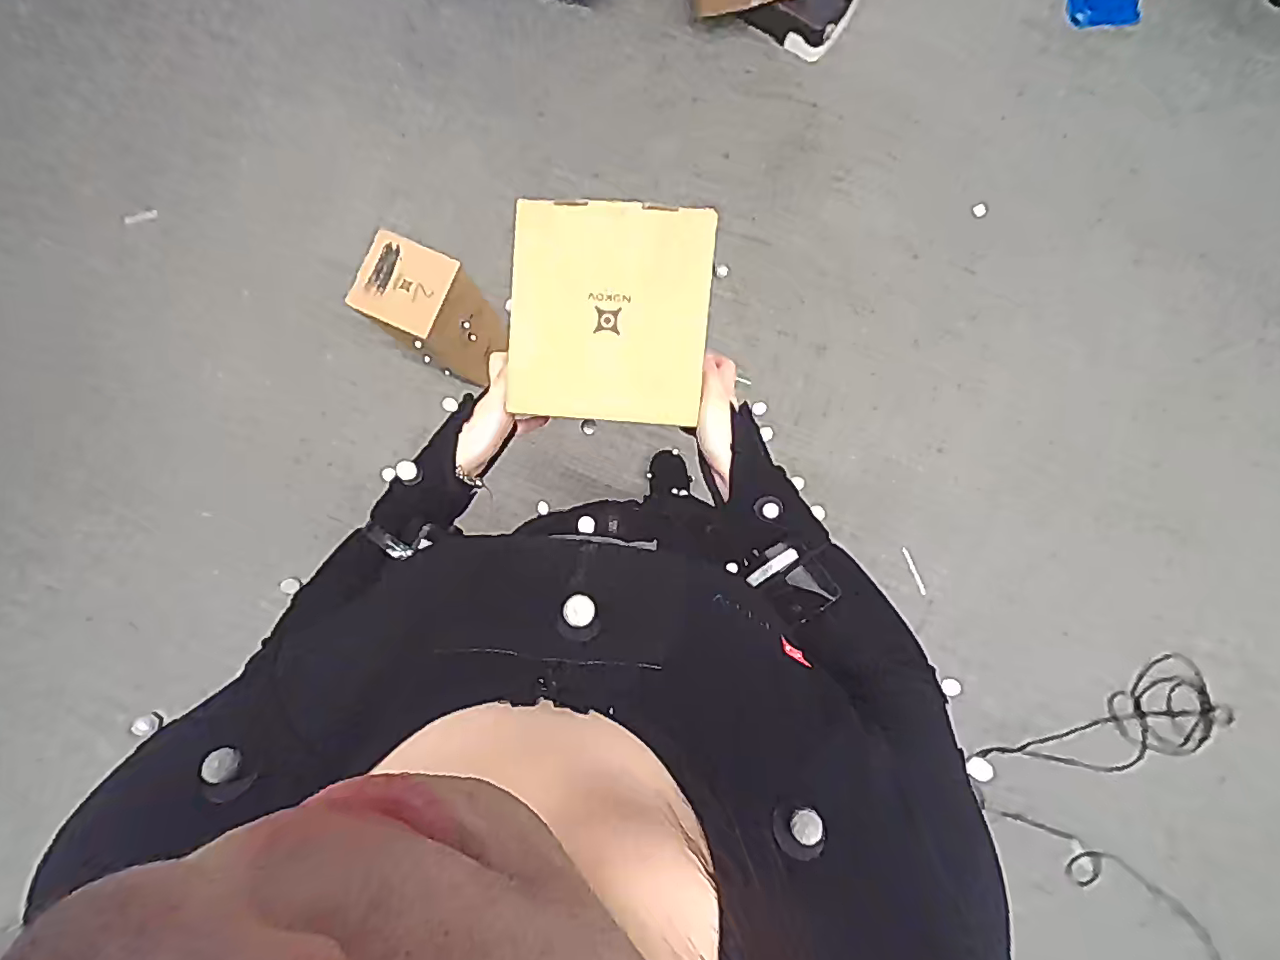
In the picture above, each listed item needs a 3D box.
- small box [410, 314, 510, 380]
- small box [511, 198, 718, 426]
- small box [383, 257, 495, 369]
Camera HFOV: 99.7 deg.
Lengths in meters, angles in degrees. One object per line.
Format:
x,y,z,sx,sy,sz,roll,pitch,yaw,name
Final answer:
-0.468,-0.378,1.437,0.179,0.176,0.168,24,89,1,small box
-0.018,-0.146,0.522,0.168,0.176,0.179,4,97,3,small box
-0.461,-0.381,1.272,0.168,0.176,0.179,24,89,0,small box
